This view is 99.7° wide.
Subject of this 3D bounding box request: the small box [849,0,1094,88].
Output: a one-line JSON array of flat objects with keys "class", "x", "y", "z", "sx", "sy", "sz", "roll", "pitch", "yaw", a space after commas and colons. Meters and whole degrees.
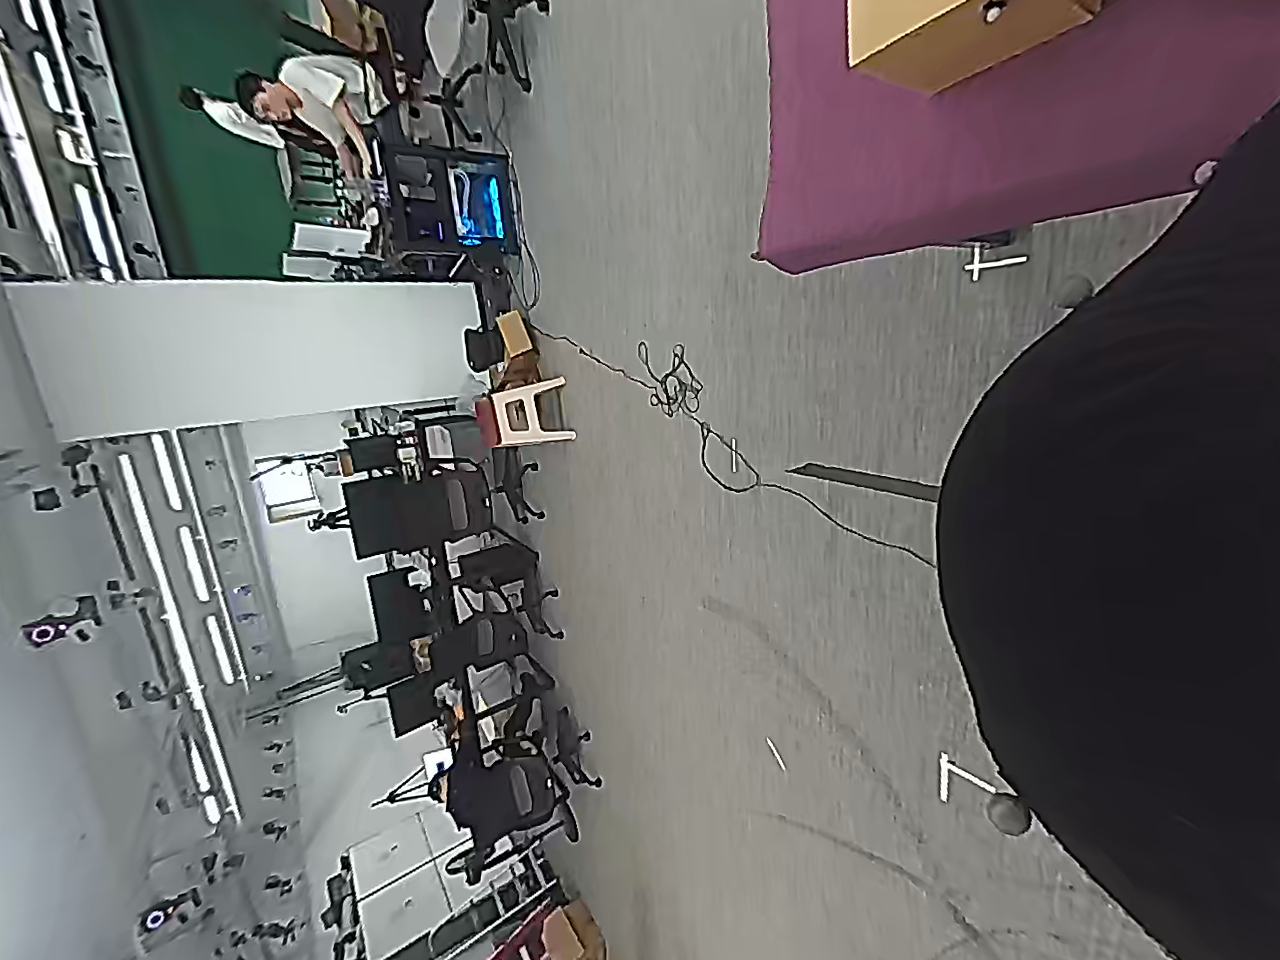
[{"class": "small box", "x": 0.339, "y": -0.541, "z": 0.553, "sx": 0.179, "sy": 0.176, "sz": 0.168, "roll": 10, "pitch": 110, "yaw": 55}]
